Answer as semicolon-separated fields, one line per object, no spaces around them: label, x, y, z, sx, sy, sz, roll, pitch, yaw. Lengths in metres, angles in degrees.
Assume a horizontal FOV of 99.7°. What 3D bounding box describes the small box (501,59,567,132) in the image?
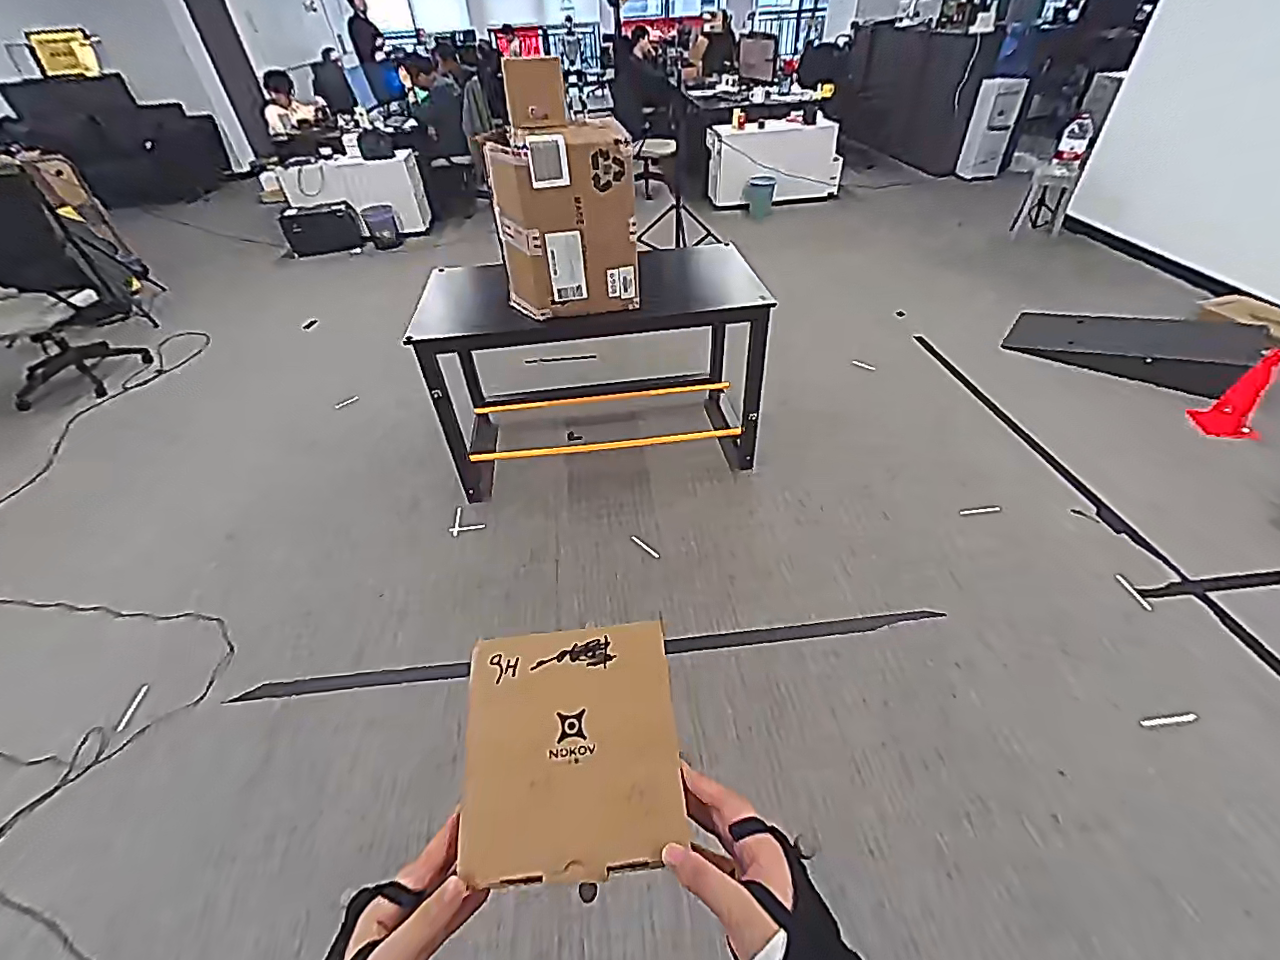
small box;-0.319;-1.161;1.631;0.168;0.176;0.179;-11;40;-9
